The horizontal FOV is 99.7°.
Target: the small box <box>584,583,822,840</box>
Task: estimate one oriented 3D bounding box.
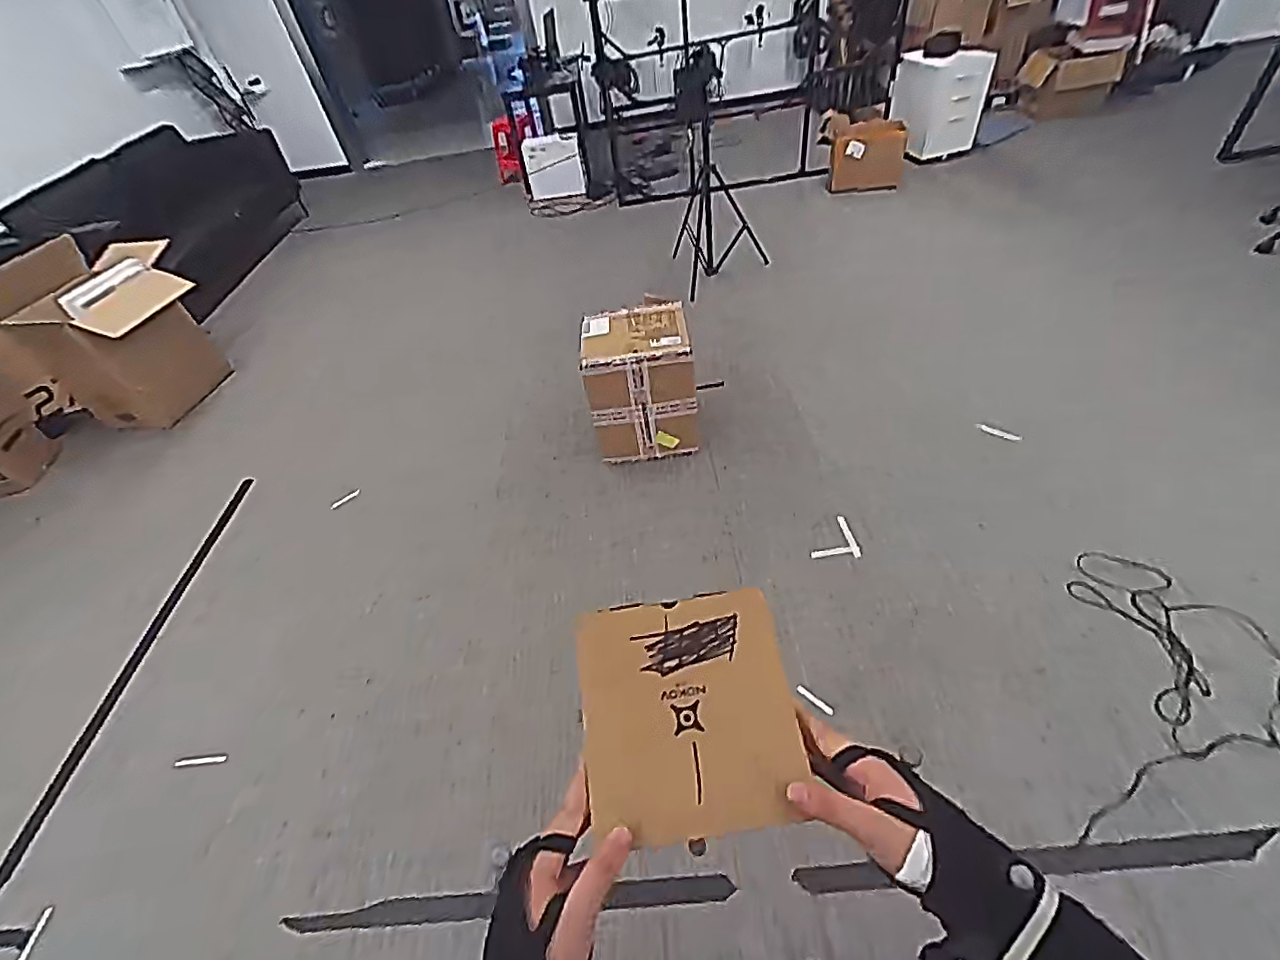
[{"bbox_3d":[0.044,0.215,0.499,0.168,0.176,0.179,-9,59,-1],"label":"small box"}]
